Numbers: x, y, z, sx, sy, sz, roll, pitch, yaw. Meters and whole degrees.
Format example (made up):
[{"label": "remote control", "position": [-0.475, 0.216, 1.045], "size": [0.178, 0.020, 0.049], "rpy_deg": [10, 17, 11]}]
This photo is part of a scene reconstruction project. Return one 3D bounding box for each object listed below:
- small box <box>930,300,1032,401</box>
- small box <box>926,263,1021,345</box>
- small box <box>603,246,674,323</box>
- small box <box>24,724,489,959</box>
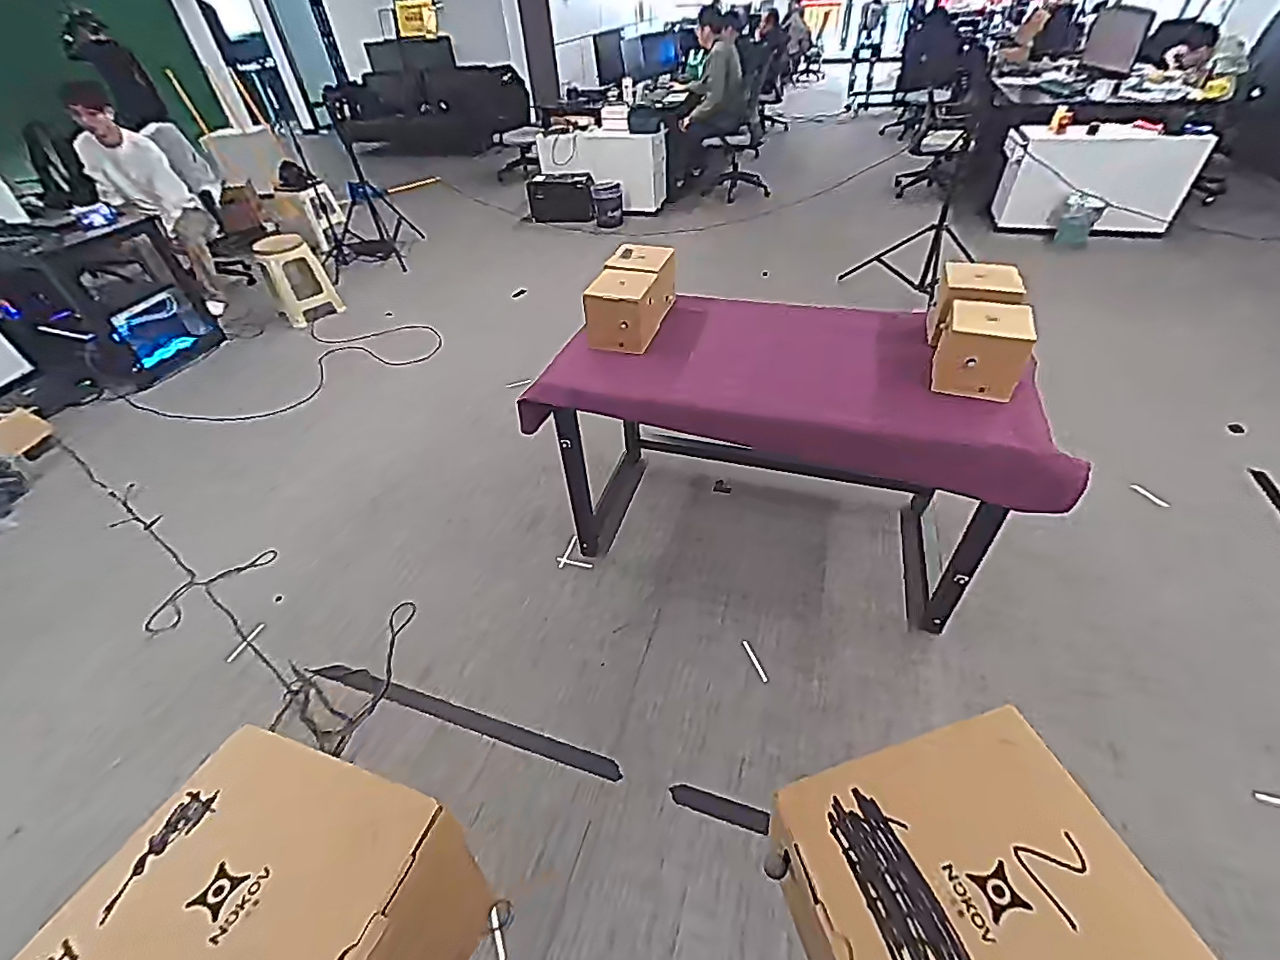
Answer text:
[{"label": "small box", "position": [0.812, -0.311, 1.301], "size": [0.168, 0.176, 0.179], "rpy_deg": [13, 45, 19]}, {"label": "small box", "position": [0.881, -0.463, 1.450], "size": [0.179, 0.176, 0.168], "rpy_deg": [11, 46, 16]}, {"label": "small box", "position": [0.000, -0.607, 1.681], "size": [0.179, 0.176, 0.168], "rpy_deg": [13, 47, 16]}, {"label": "small box", "position": [-0.222, 0.300, 0.351], "size": [0.179, 0.176, 0.168], "rpy_deg": [11, 38, 16]}]
